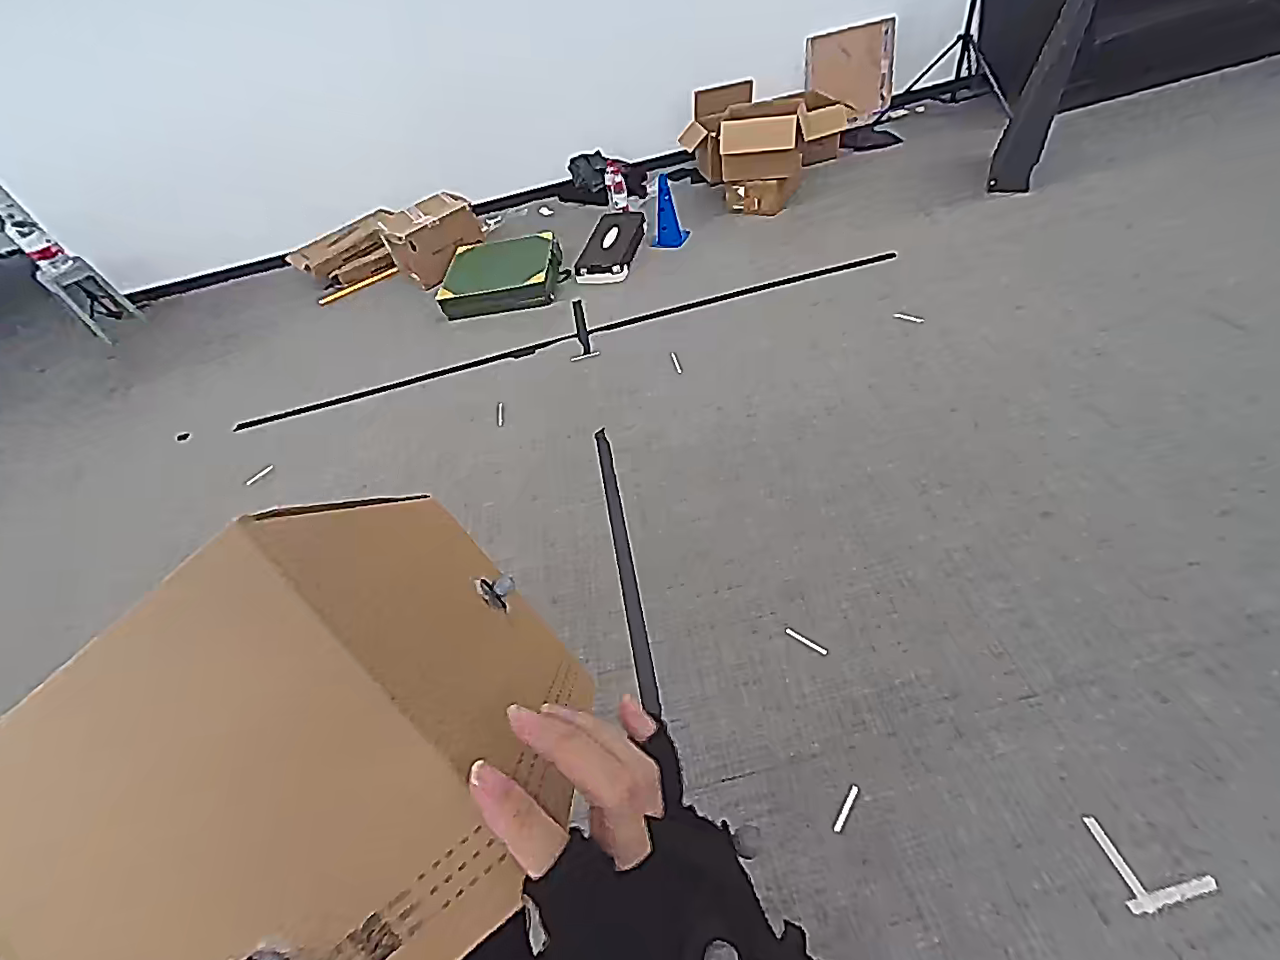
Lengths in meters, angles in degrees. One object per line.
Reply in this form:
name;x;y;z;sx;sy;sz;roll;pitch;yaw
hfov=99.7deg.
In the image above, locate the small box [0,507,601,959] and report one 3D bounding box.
small box;-0.138;0.134;0.288;0.168;0.179;0.176;-41;90;2
